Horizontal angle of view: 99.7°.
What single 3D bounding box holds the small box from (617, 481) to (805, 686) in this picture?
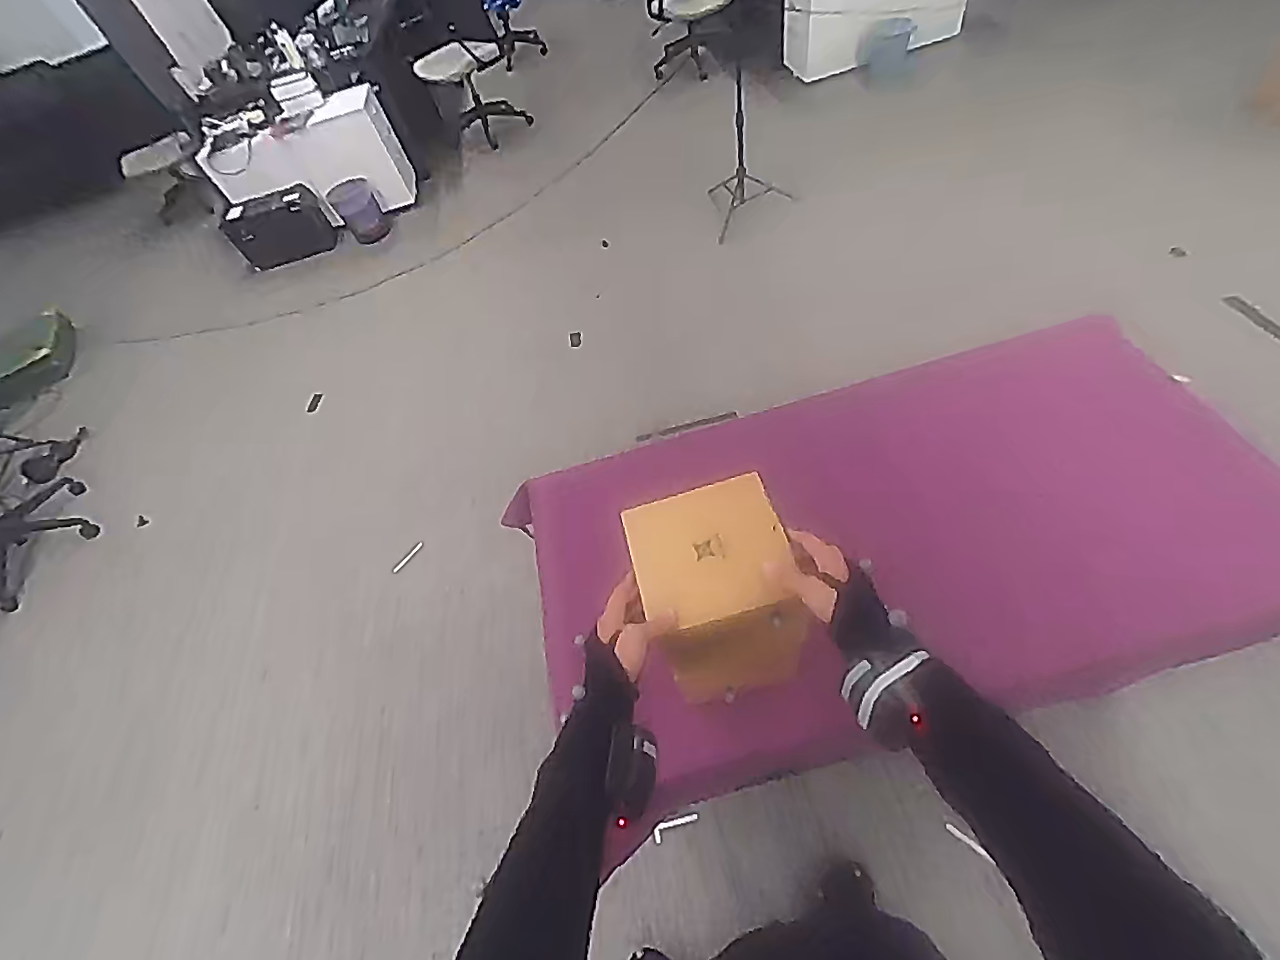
[{"bbox_3d":[0.087,0.133,0.660,0.179,0.176,0.168,-17,53,2],"label":"small box"}]
